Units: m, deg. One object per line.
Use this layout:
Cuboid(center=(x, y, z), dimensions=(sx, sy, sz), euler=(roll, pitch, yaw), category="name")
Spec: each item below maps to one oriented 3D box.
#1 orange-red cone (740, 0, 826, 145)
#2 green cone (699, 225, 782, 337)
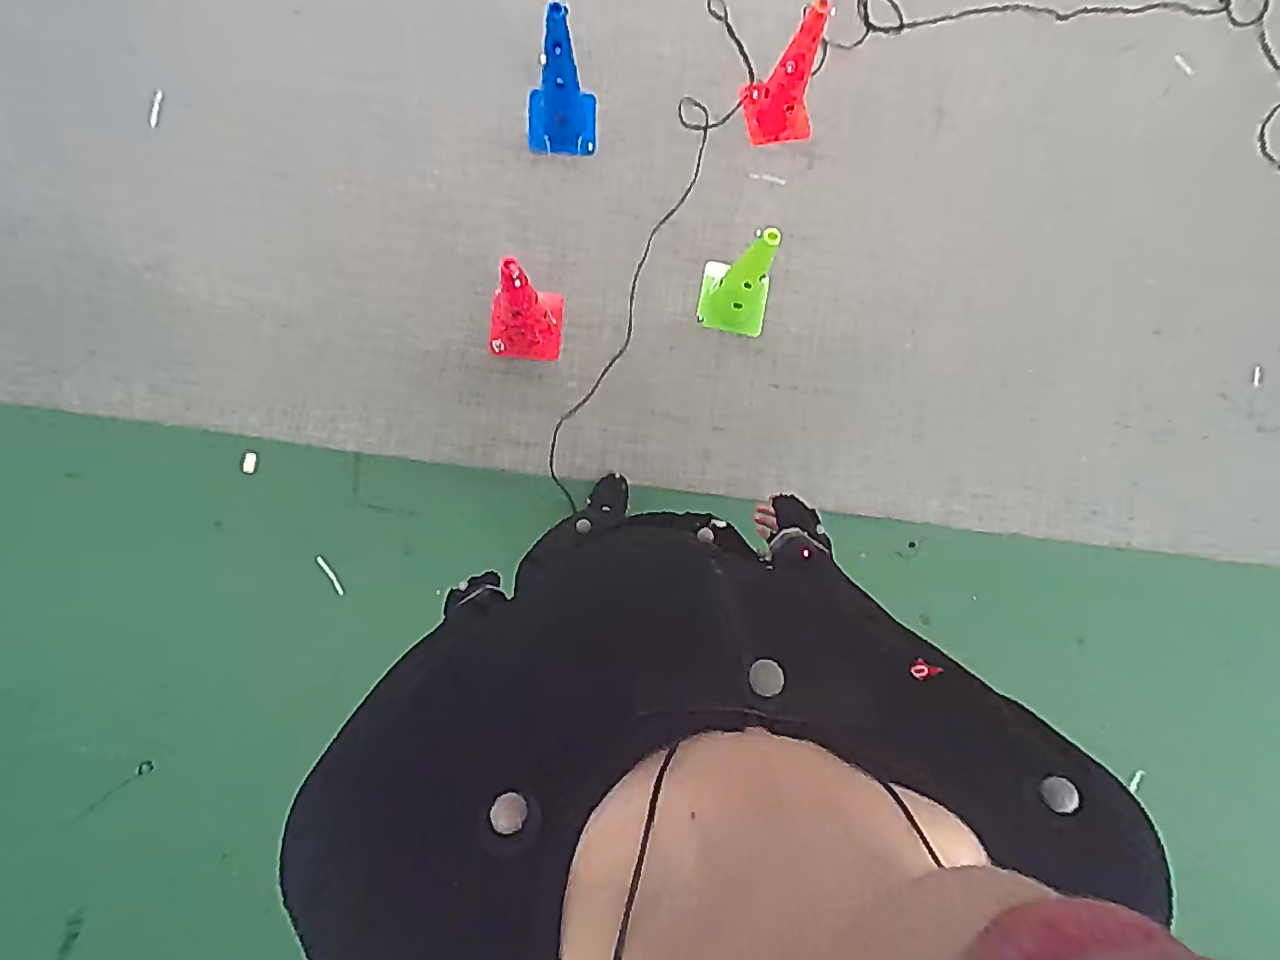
Cuboid(center=(0.430, -1.154, 1.508), dimensions=(0.198, 0.360, 0.199), euler=(-11, 87, -5), category="orange-red cone")
Cuboid(center=(0.298, -0.551, 1.434), dimensions=(0.200, 0.368, 0.202), euler=(10, 83, -4), category="green cone")
